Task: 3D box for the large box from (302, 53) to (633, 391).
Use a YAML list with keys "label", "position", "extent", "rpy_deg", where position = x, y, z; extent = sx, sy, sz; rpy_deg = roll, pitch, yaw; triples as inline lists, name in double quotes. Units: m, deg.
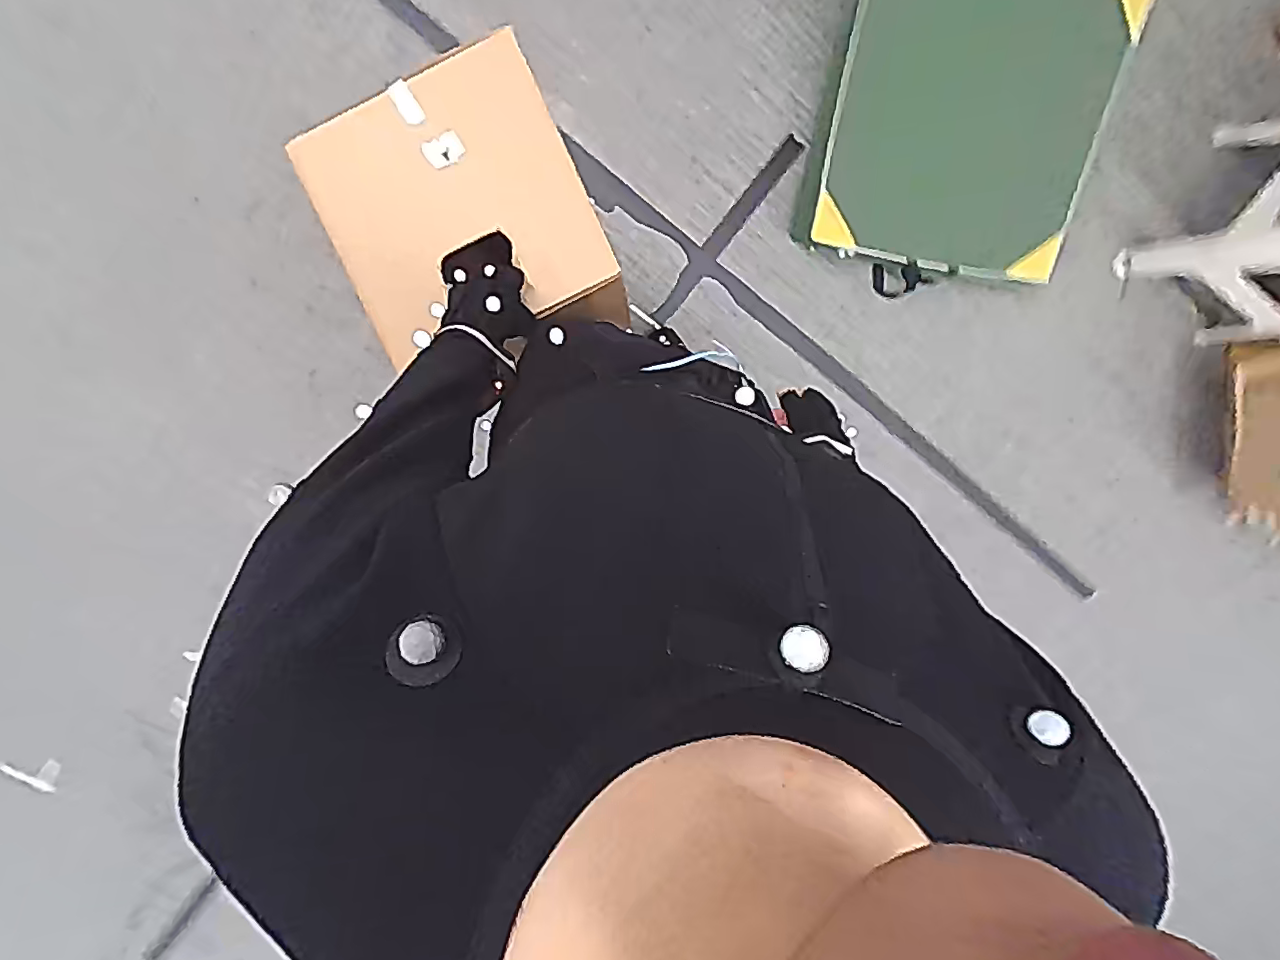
- label: "large box"
  position: [-0.220, -0.348, 0.864]
  extent: [0.320, 0.408, 0.320]
  rpy_deg: [-24, 97, 4]
